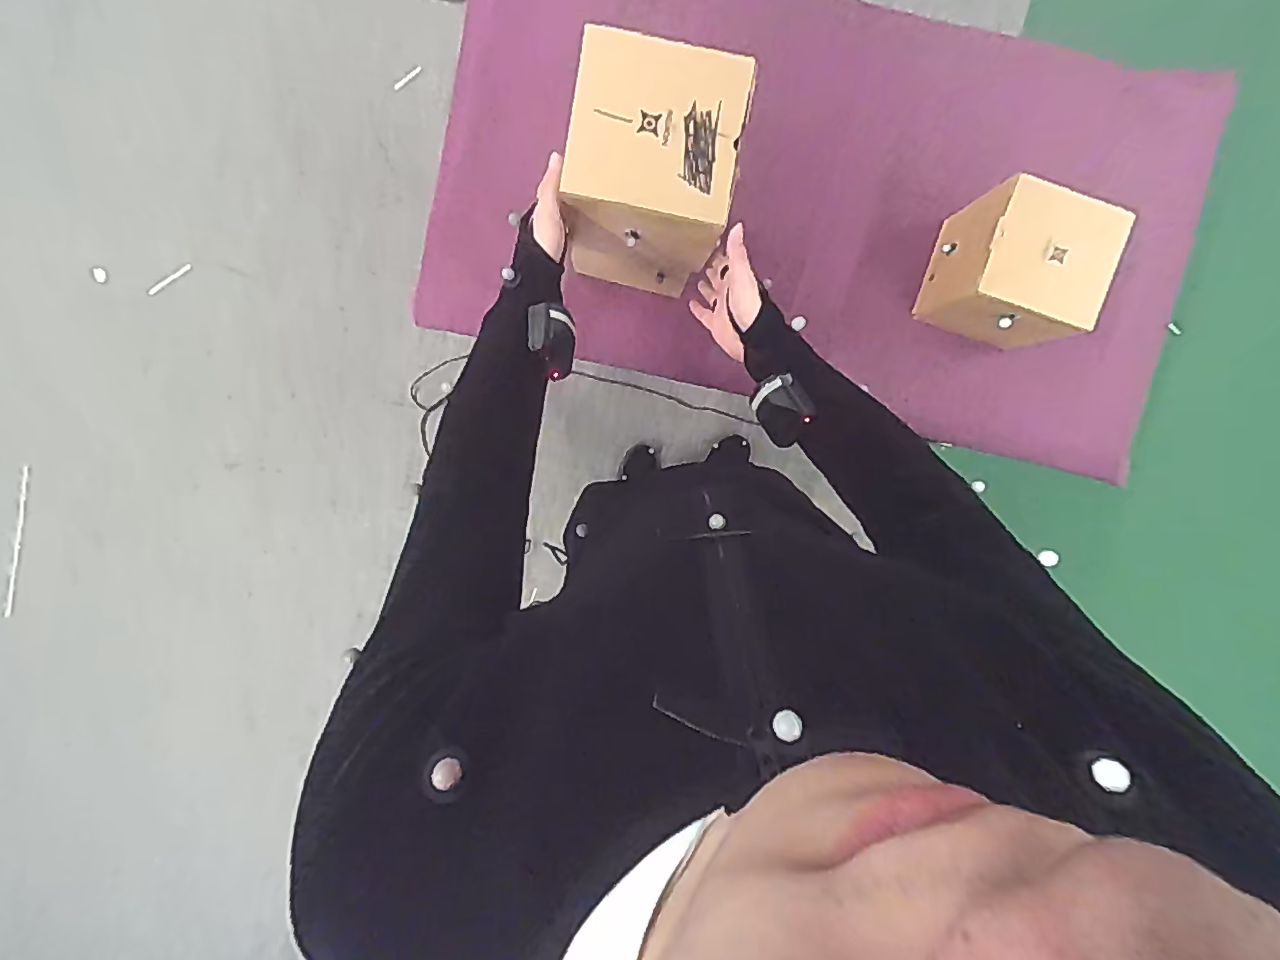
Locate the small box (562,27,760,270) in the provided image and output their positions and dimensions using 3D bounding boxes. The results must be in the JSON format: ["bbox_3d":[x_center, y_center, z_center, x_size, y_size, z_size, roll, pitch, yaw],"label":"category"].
[{"bbox_3d":[0.017,-0.357,0.622,0.179,0.176,0.168,10,94,-4],"label":"small box"}]

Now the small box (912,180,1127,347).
[{"bbox_3d":[0.556,-0.311,0.818,0.179,0.176,0.168,18,94,-3],"label":"small box"}]
